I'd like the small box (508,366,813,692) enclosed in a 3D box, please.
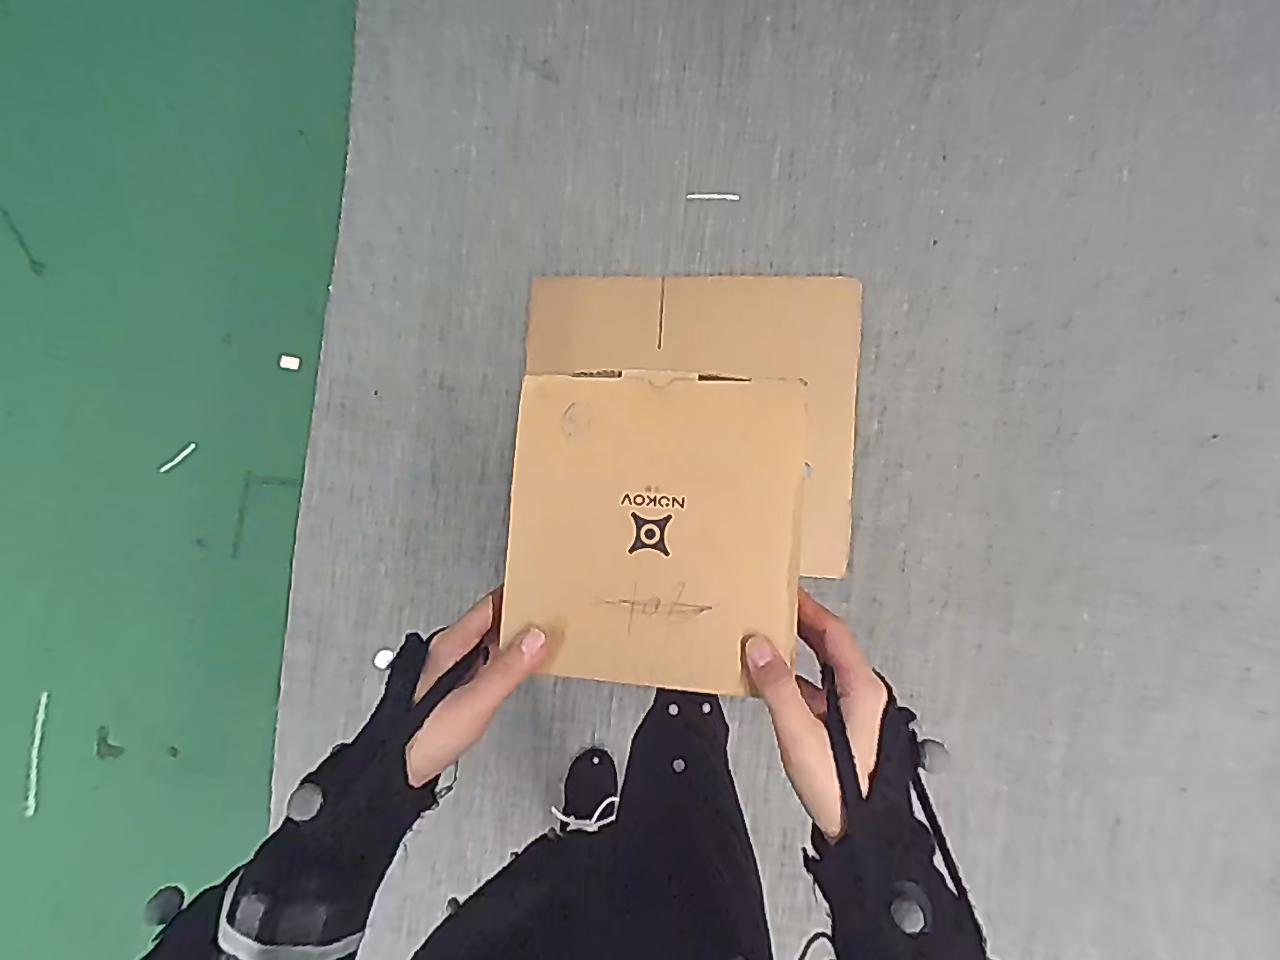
[{"bbox_3d":[0.021,0.029,0.384,0.168,0.176,0.179,3,87,9],"label":"small box"}]
